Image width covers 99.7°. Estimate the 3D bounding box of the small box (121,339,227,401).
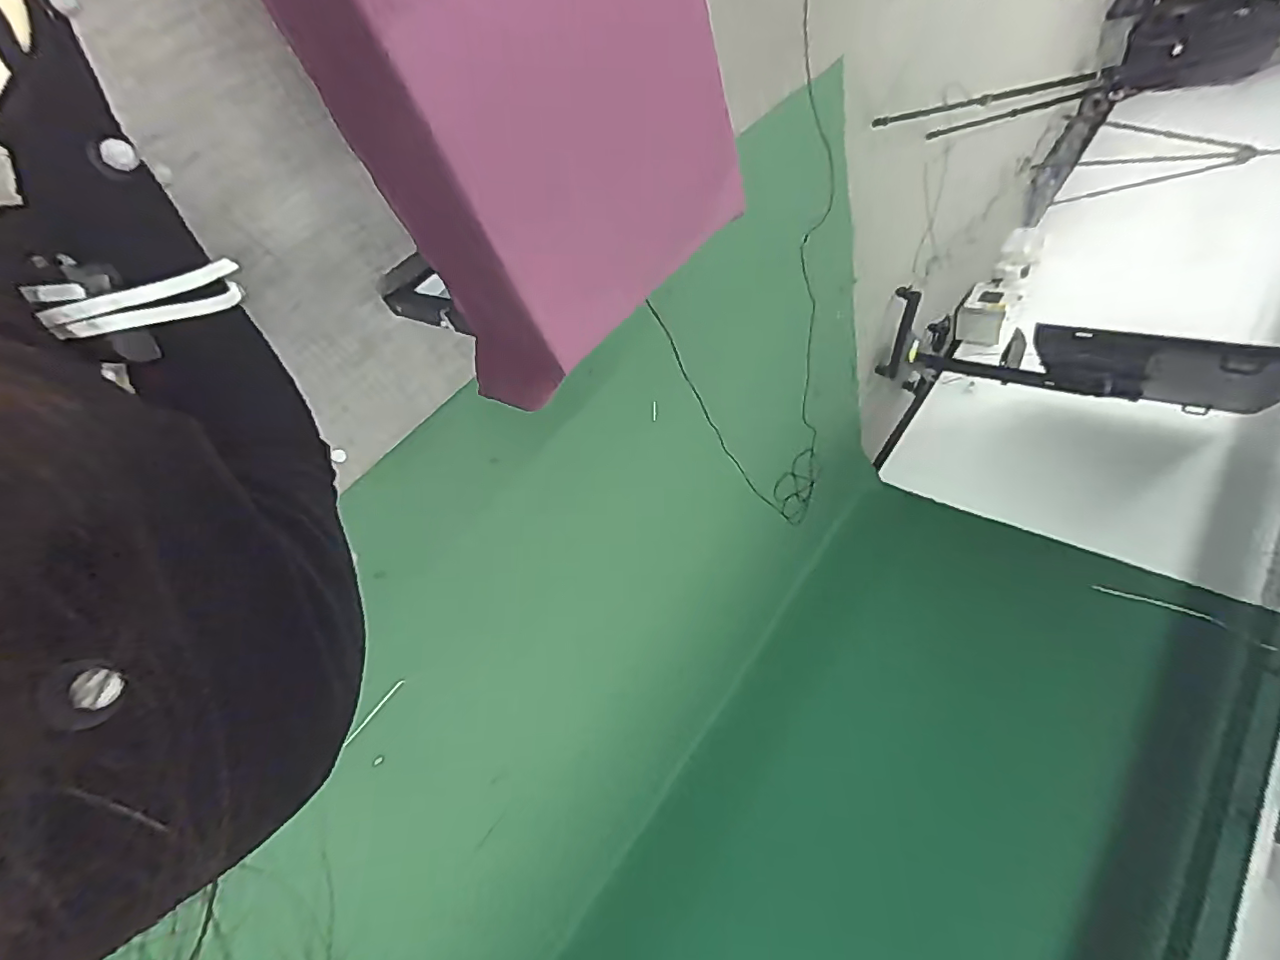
[{"bbox_3d":[-0.932,-0.180,1.138,0.168,0.176,0.179,-46,139,-23],"label":"small box"}]
